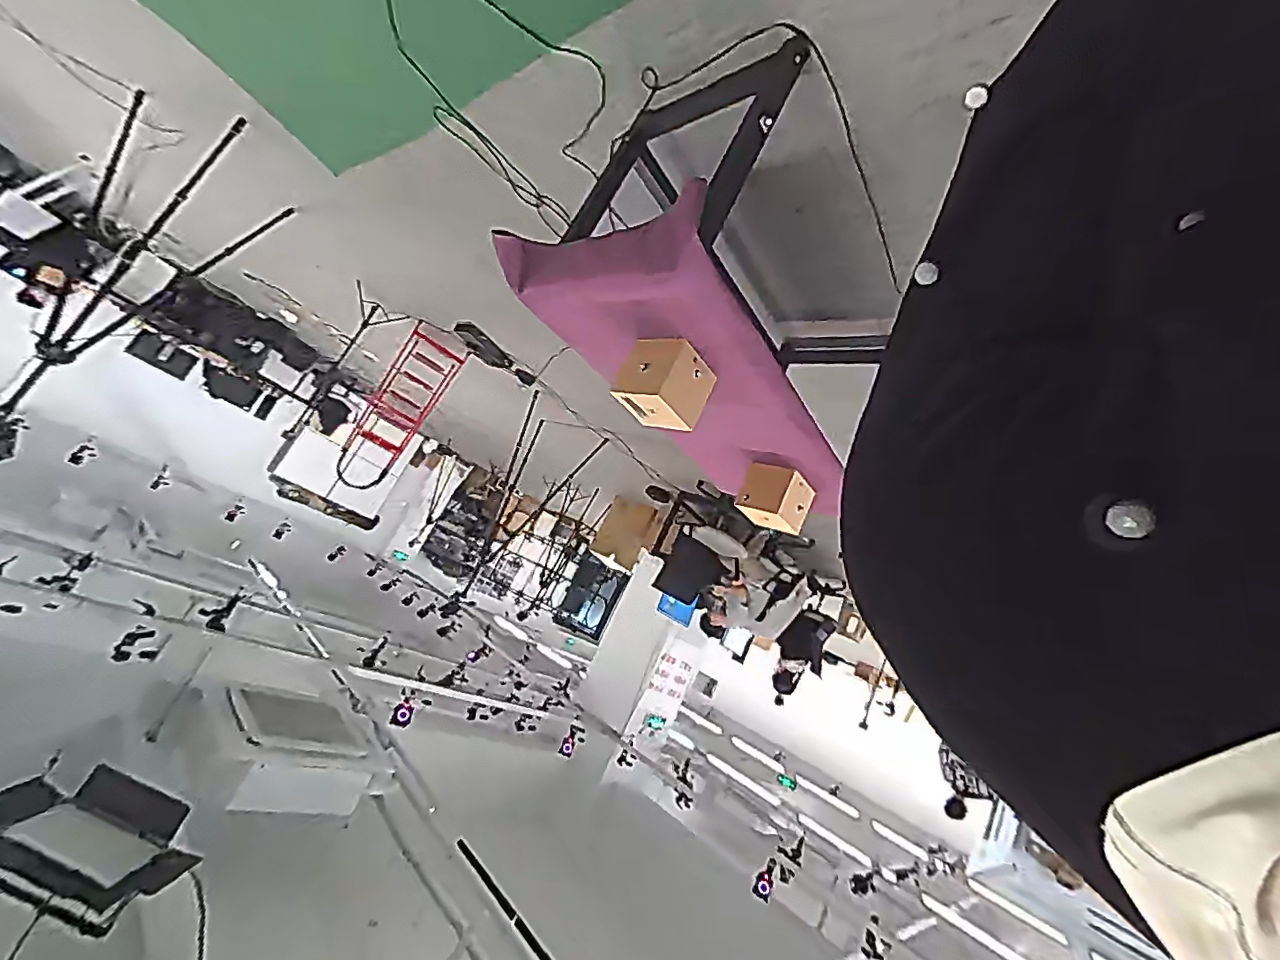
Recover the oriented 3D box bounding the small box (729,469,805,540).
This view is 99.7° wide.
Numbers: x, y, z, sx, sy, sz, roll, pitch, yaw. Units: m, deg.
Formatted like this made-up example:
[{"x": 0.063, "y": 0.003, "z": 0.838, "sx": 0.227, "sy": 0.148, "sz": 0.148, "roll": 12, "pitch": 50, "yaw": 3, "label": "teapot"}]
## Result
[{"x": 0.433, "y": 0.078, "z": 1.805, "sx": 0.179, "sy": 0.176, "sz": 0.168, "roll": 13, "pitch": 160, "yaw": 45, "label": "small box"}]
